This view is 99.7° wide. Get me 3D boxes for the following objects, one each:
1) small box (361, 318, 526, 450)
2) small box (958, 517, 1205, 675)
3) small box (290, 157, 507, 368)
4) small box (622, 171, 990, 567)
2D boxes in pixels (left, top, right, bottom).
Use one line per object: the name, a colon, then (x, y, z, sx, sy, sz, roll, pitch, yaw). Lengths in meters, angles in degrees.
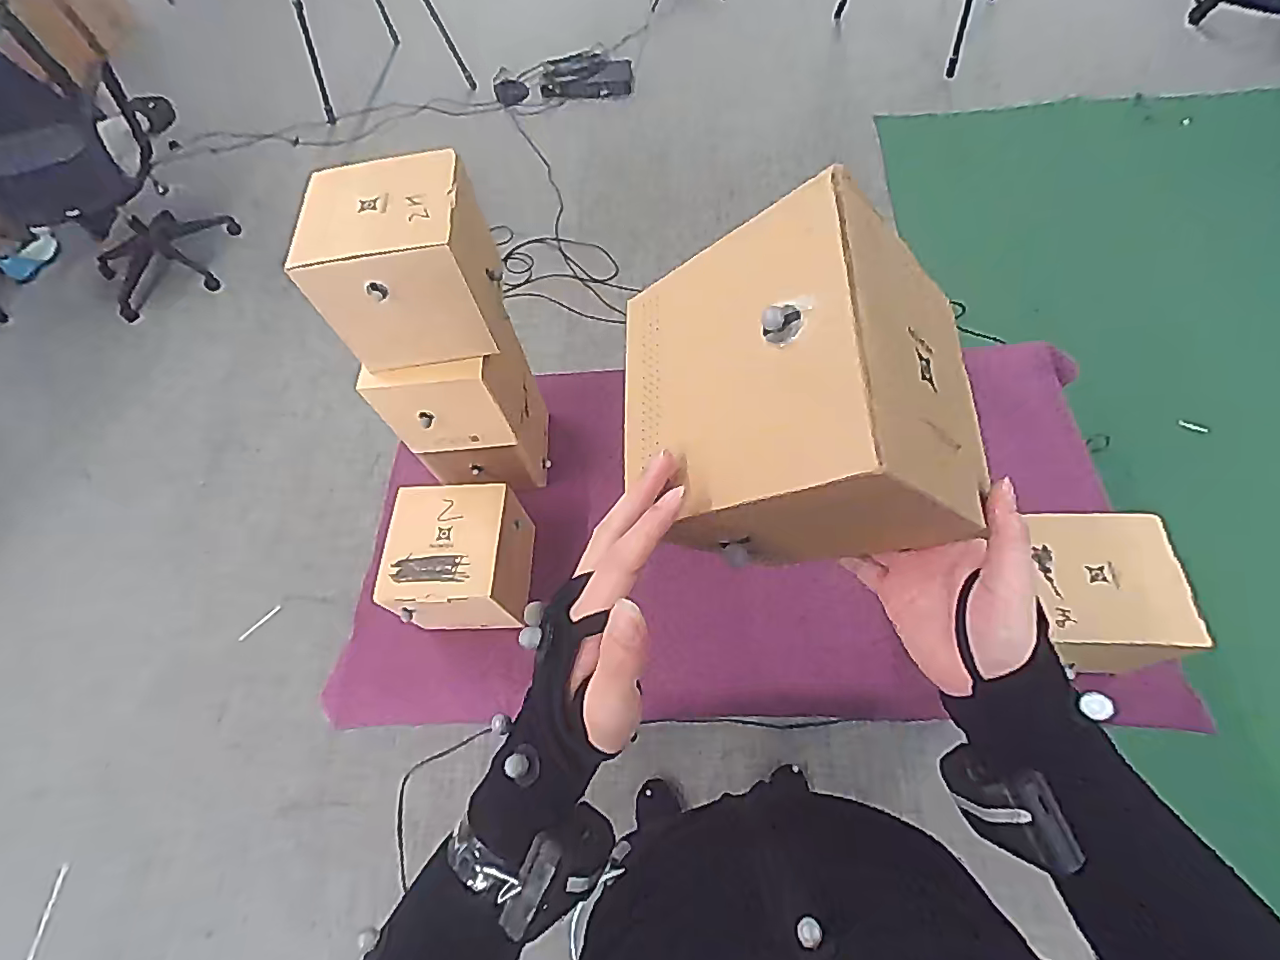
small box: (-0.273, -0.155, 0.795, 0.168, 0.176, 0.179, -5, 61, 3)
small box: (0.565, 0.160, 0.724, 0.179, 0.176, 0.168, 1, 61, 7)
small box: (-0.276, -0.255, 0.662, 0.179, 0.176, 0.168, -7, 62, 1)
small box: (0.102, -0.047, 0.364, 0.176, 0.168, 0.179, -18, 63, 45)
